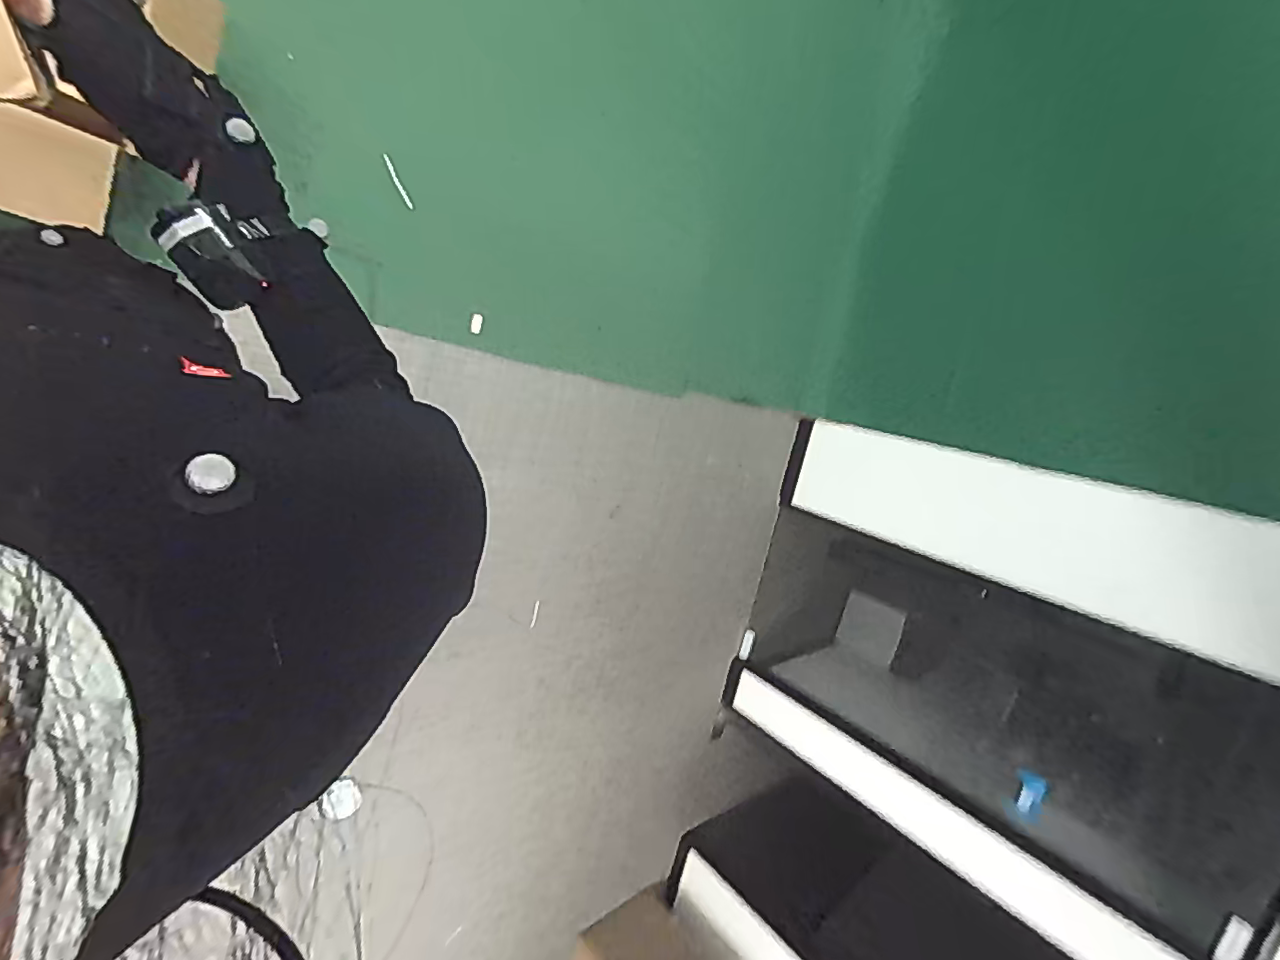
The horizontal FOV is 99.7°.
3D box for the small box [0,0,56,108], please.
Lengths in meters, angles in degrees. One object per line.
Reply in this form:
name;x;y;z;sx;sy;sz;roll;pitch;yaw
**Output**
small box;-0.410;-0.281;0.236;0.168;0.176;0.179;-21;134;-34
